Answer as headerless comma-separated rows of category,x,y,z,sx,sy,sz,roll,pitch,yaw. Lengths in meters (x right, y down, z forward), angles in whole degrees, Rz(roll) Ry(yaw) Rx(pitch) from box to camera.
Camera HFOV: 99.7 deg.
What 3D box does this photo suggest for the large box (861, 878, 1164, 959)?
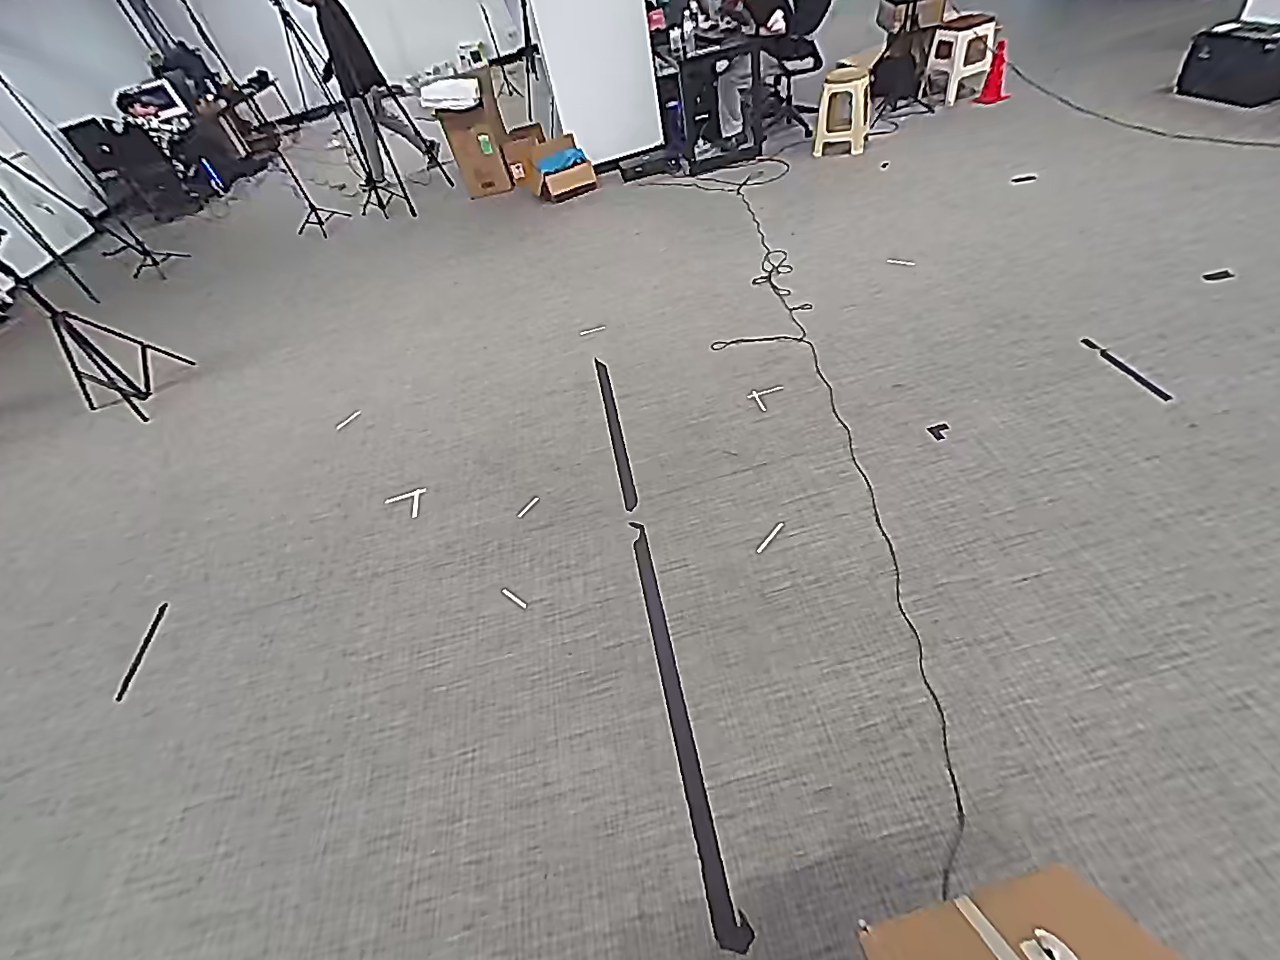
large box,0.494,0.725,0.558,0.320,0.408,0.320,-19,78,2
